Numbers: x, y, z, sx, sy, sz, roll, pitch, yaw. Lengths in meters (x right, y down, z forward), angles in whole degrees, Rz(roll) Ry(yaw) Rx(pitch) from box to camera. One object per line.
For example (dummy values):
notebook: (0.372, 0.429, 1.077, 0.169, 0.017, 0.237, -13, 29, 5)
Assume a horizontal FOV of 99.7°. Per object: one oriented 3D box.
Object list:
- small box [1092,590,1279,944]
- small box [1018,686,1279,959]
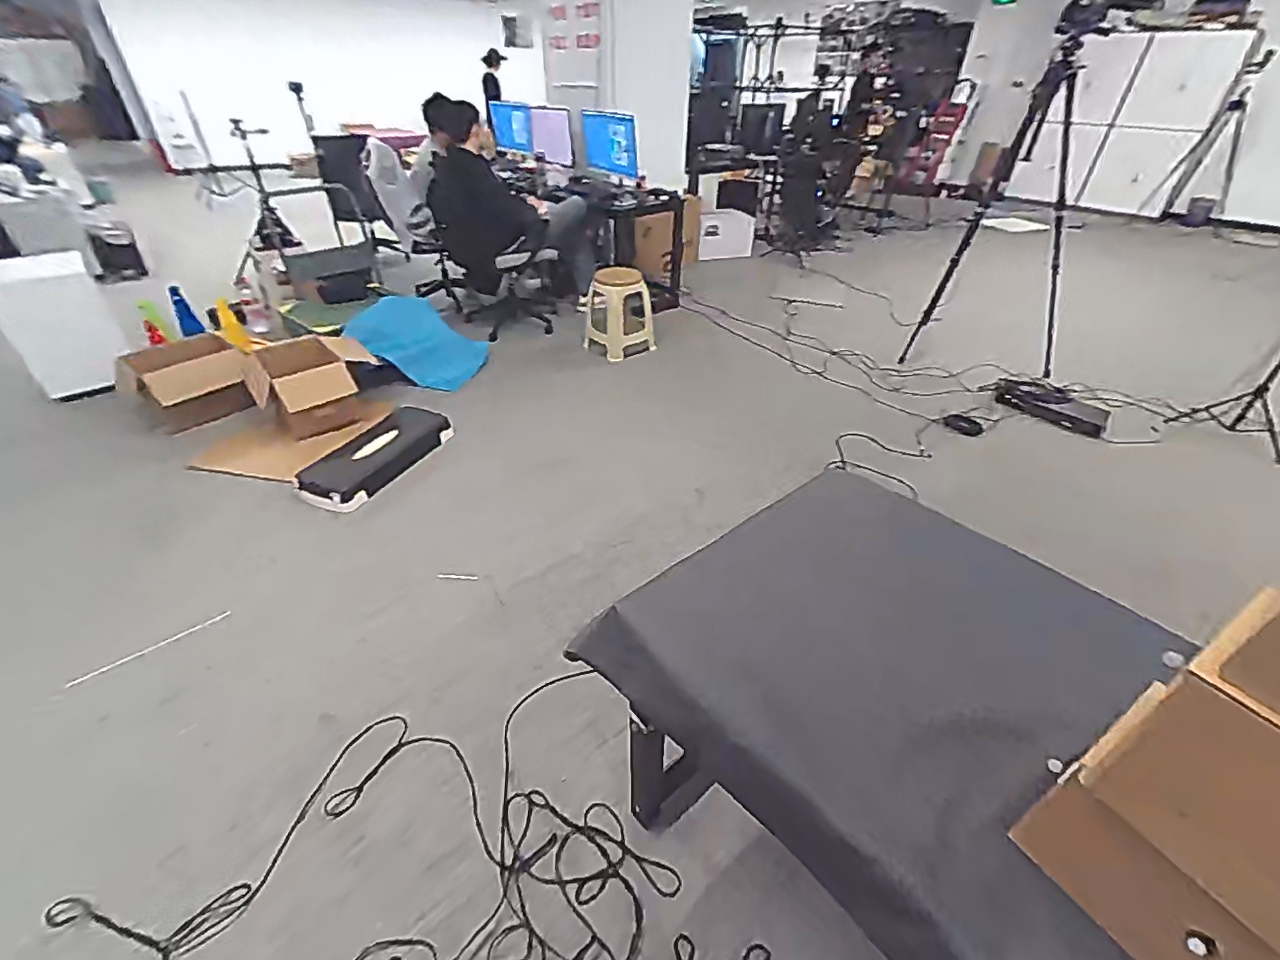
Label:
small box: (0.508, 0.223, 0.412, 0.168, 0.176, 0.179, -18, 41, -25)
small box: (0.522, 0.346, 0.520, 0.168, 0.176, 0.179, -19, 40, -26)
